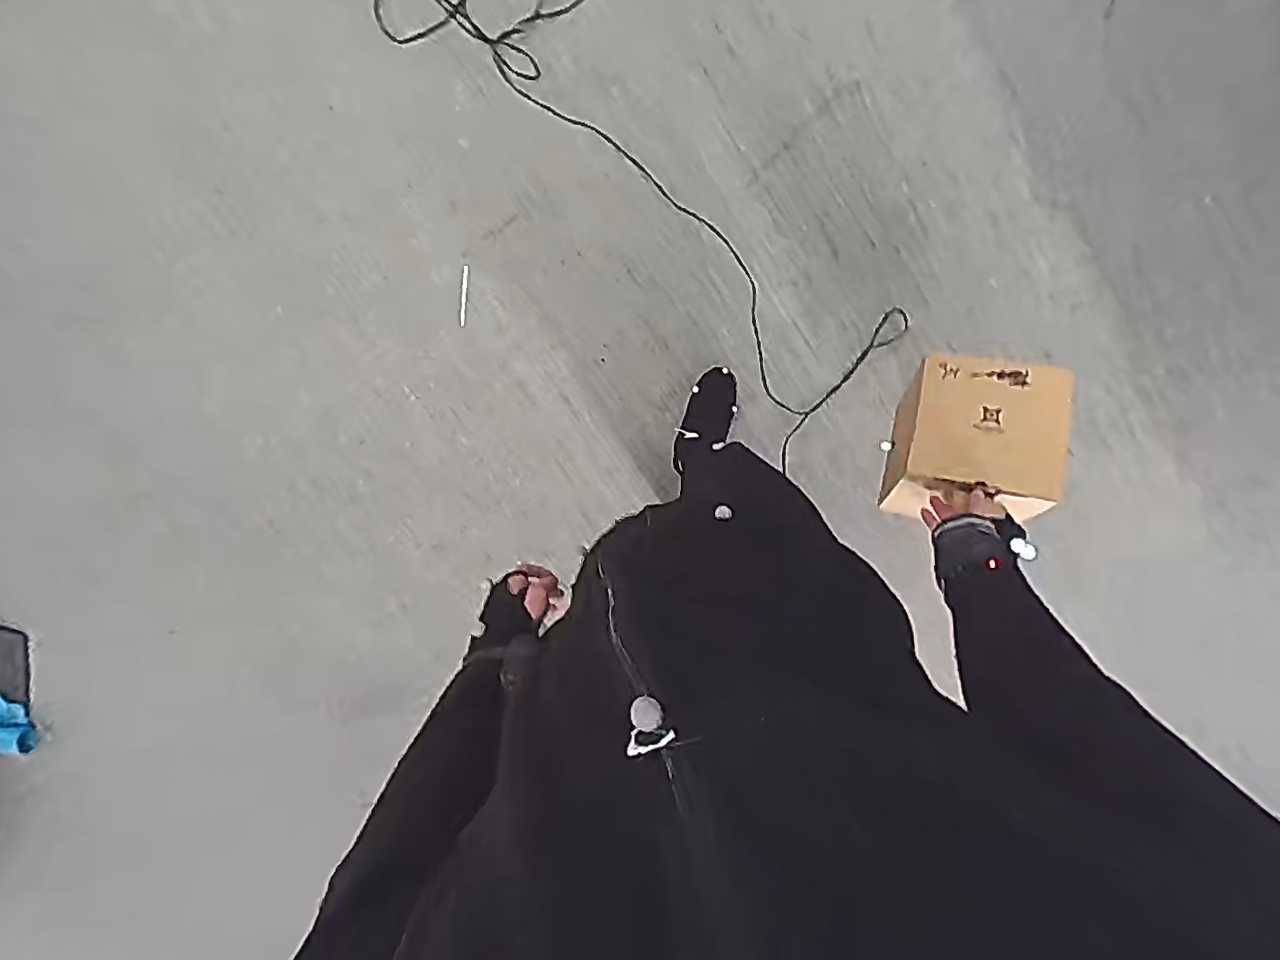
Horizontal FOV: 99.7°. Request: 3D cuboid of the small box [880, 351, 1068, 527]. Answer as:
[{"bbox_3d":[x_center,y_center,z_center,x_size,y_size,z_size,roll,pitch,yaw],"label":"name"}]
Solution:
[{"bbox_3d":[0.439,-0.047,0.738,0.168,0.176,0.179,14,75,16],"label":"small box"}]
